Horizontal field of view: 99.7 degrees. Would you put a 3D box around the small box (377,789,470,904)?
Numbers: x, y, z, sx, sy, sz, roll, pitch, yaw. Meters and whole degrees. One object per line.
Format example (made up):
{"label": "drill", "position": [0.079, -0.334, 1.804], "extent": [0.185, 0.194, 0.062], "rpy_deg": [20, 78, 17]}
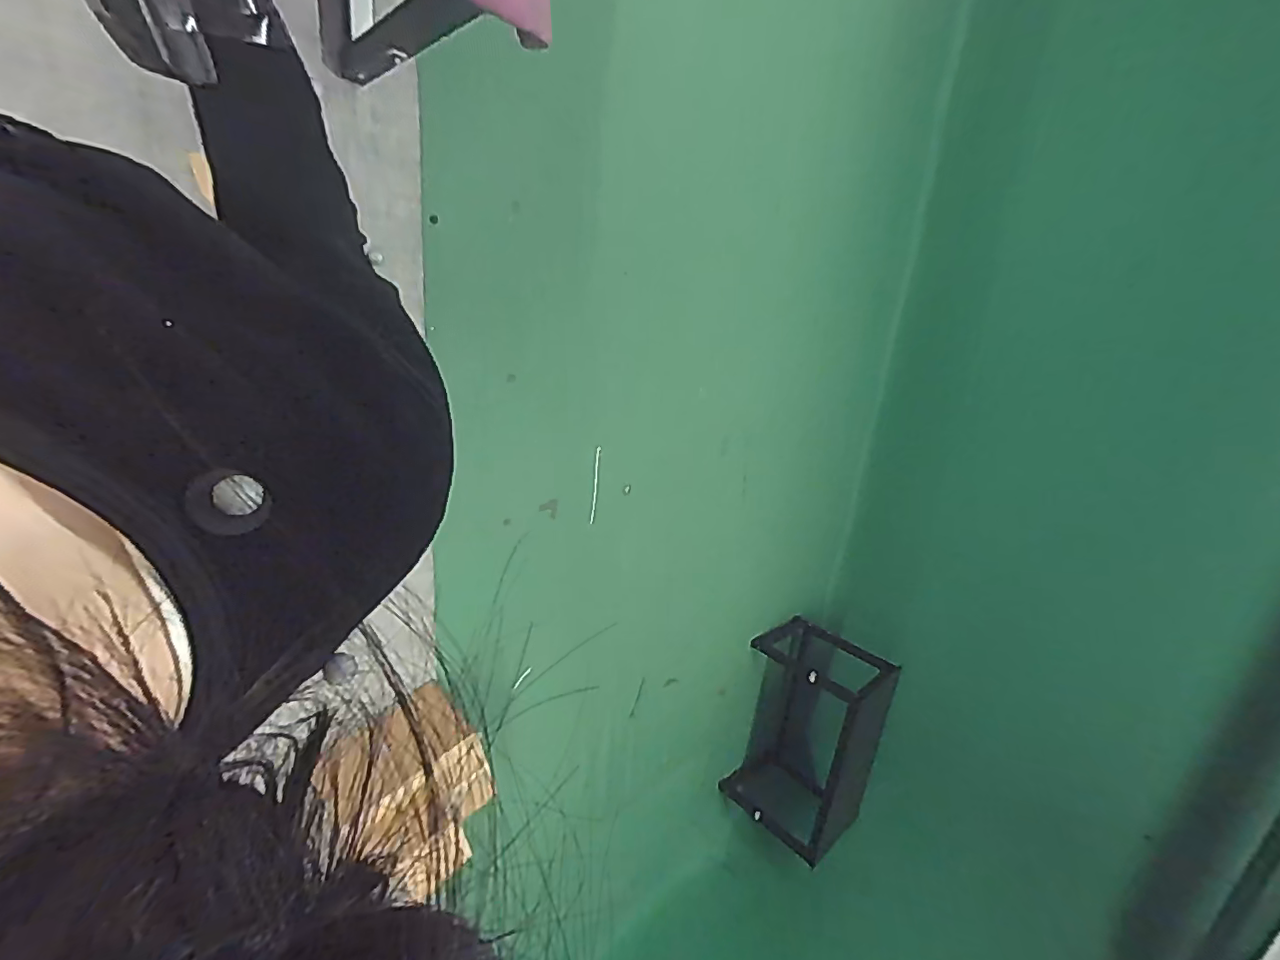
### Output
{"label": "small box", "position": [-0.600, 0.999, 1.496], "extent": [0.168, 0.176, 0.179], "rpy_deg": [-27, 123, -36]}

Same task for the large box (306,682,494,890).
{"label": "large box", "position": [-0.738, 0.927, 1.691], "extent": [0.408, 0.320, 0.320], "rpy_deg": [-28, 126, -37]}
